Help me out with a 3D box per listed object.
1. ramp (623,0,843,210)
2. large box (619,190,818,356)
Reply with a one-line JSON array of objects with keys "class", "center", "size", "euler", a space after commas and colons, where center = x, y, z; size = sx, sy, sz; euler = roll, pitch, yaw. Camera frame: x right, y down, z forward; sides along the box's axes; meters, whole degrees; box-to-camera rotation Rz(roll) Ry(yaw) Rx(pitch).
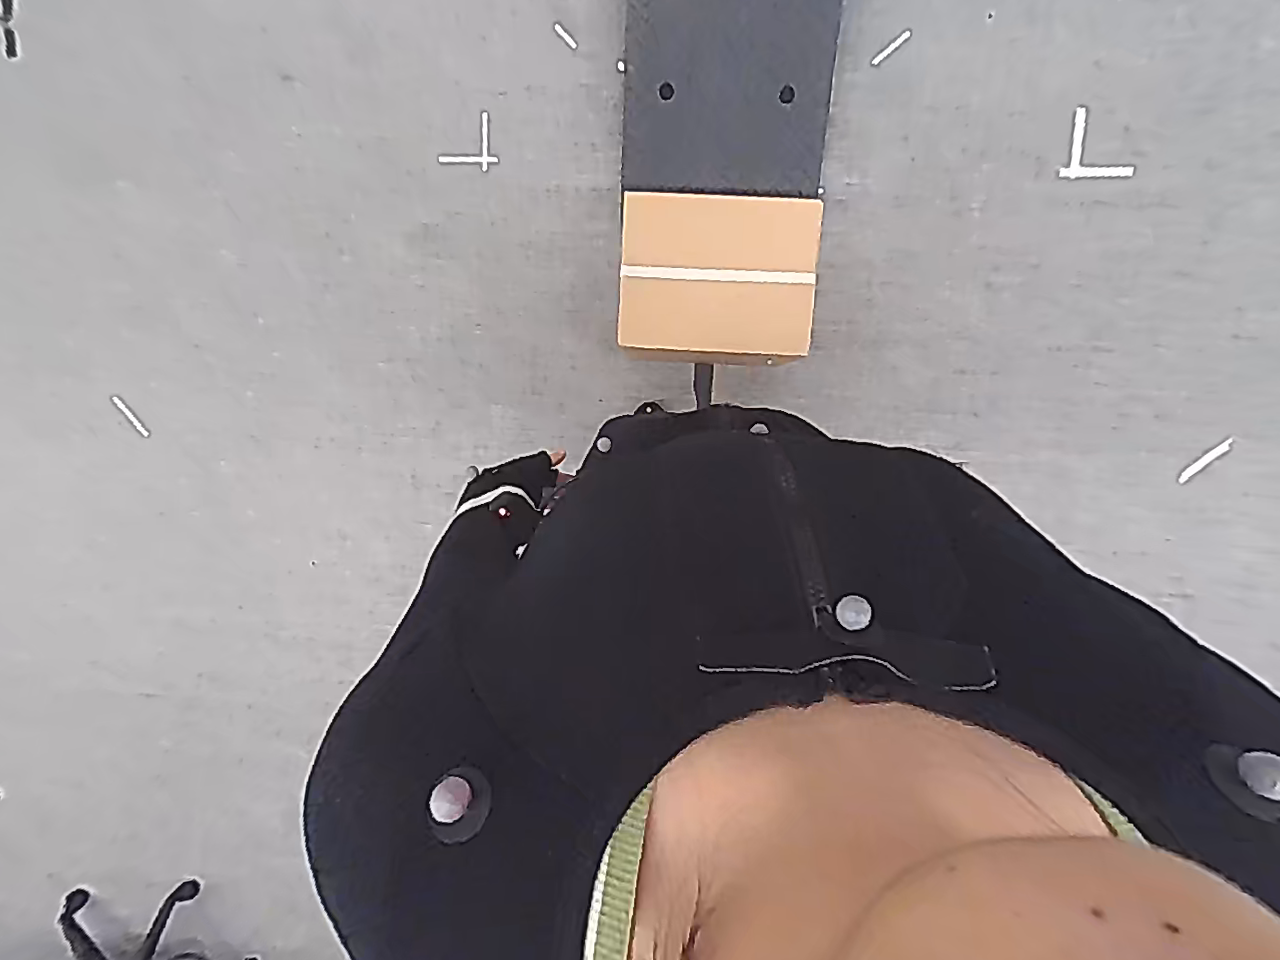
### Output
[{"class": "ramp", "center": [0.219, -1.138, 1.218], "size": [0.509, 0.206, 0.991], "euler": [2, 100, 2]}, {"class": "large box", "center": [0.169, -0.462, 1.274], "size": [0.408, 0.320, 0.320], "euler": [4, 98, 2]}]
